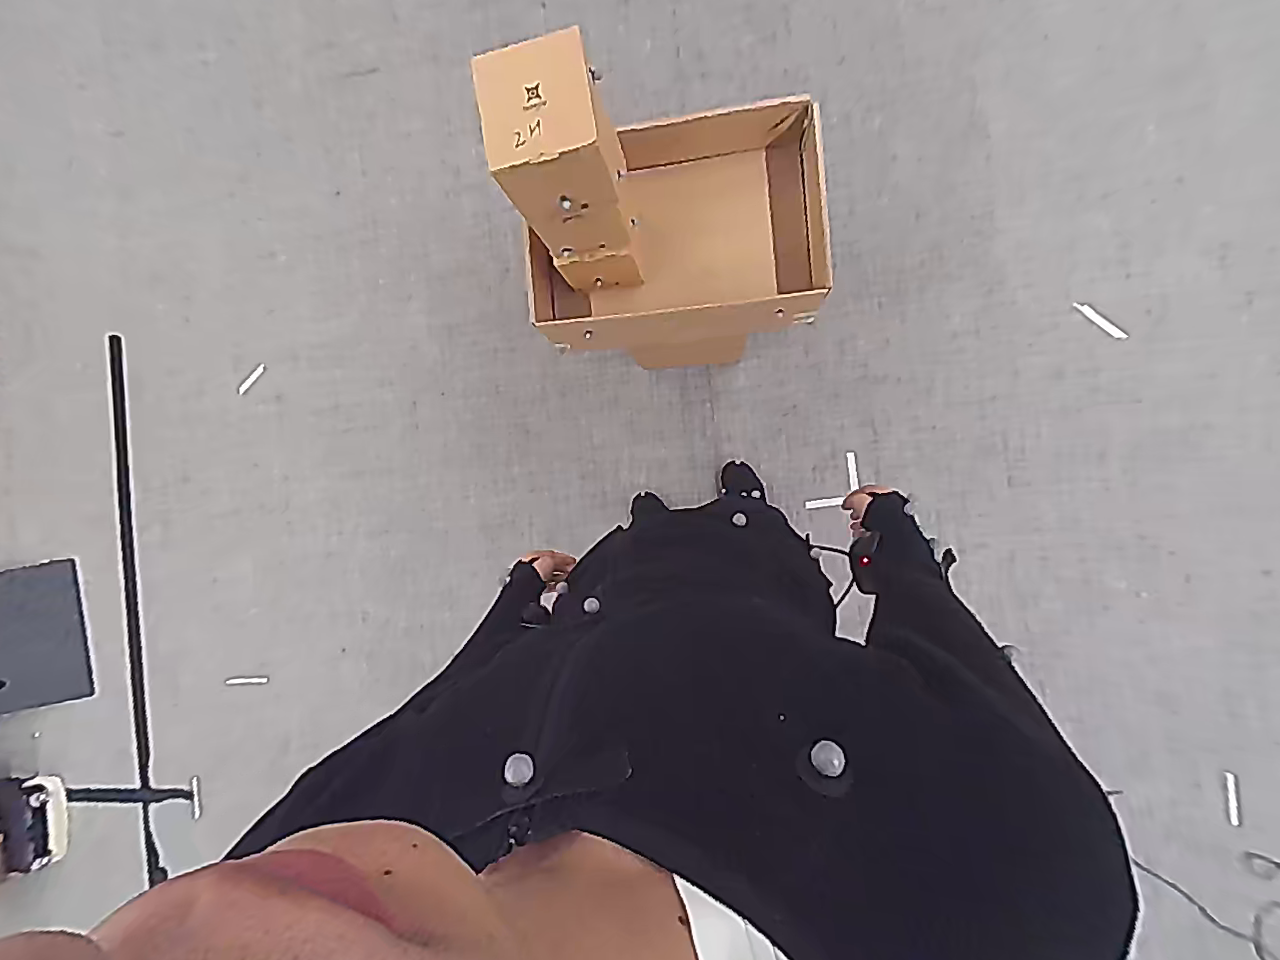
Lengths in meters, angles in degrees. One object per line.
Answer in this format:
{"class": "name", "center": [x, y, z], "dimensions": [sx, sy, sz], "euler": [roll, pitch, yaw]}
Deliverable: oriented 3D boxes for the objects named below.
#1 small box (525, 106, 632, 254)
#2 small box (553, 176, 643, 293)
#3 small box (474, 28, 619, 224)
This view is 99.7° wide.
{"class": "small box", "center": [-0.113, -0.542, 1.007], "dimensions": [0.168, 0.176, 0.179], "euler": [-6, 88, 9]}
{"class": "small box", "center": [-0.090, -0.527, 1.169], "dimensions": [0.168, 0.176, 0.179], "euler": [-6, 89, 9]}
{"class": "small box", "center": [-0.136, -0.536, 0.844], "dimensions": [0.168, 0.176, 0.179], "euler": [-10, 89, 9]}
